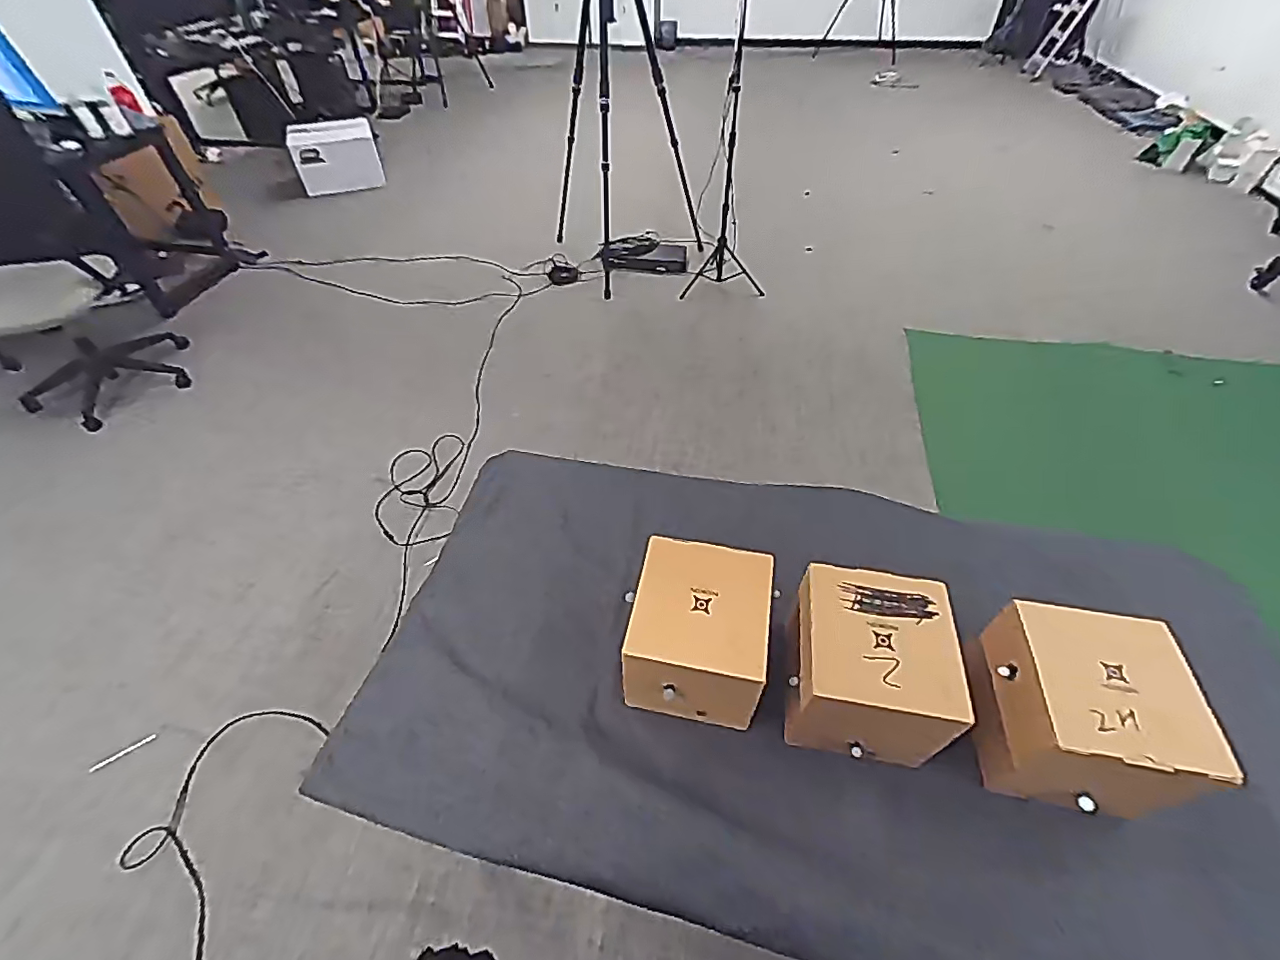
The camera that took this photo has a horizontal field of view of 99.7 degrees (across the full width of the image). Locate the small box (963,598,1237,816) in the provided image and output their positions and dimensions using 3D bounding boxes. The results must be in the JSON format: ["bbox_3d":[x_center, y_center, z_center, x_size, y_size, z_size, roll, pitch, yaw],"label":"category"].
[{"bbox_3d":[0.516,0.271,0.647,0.168,0.176,0.179,7,48,9],"label":"small box"}]
